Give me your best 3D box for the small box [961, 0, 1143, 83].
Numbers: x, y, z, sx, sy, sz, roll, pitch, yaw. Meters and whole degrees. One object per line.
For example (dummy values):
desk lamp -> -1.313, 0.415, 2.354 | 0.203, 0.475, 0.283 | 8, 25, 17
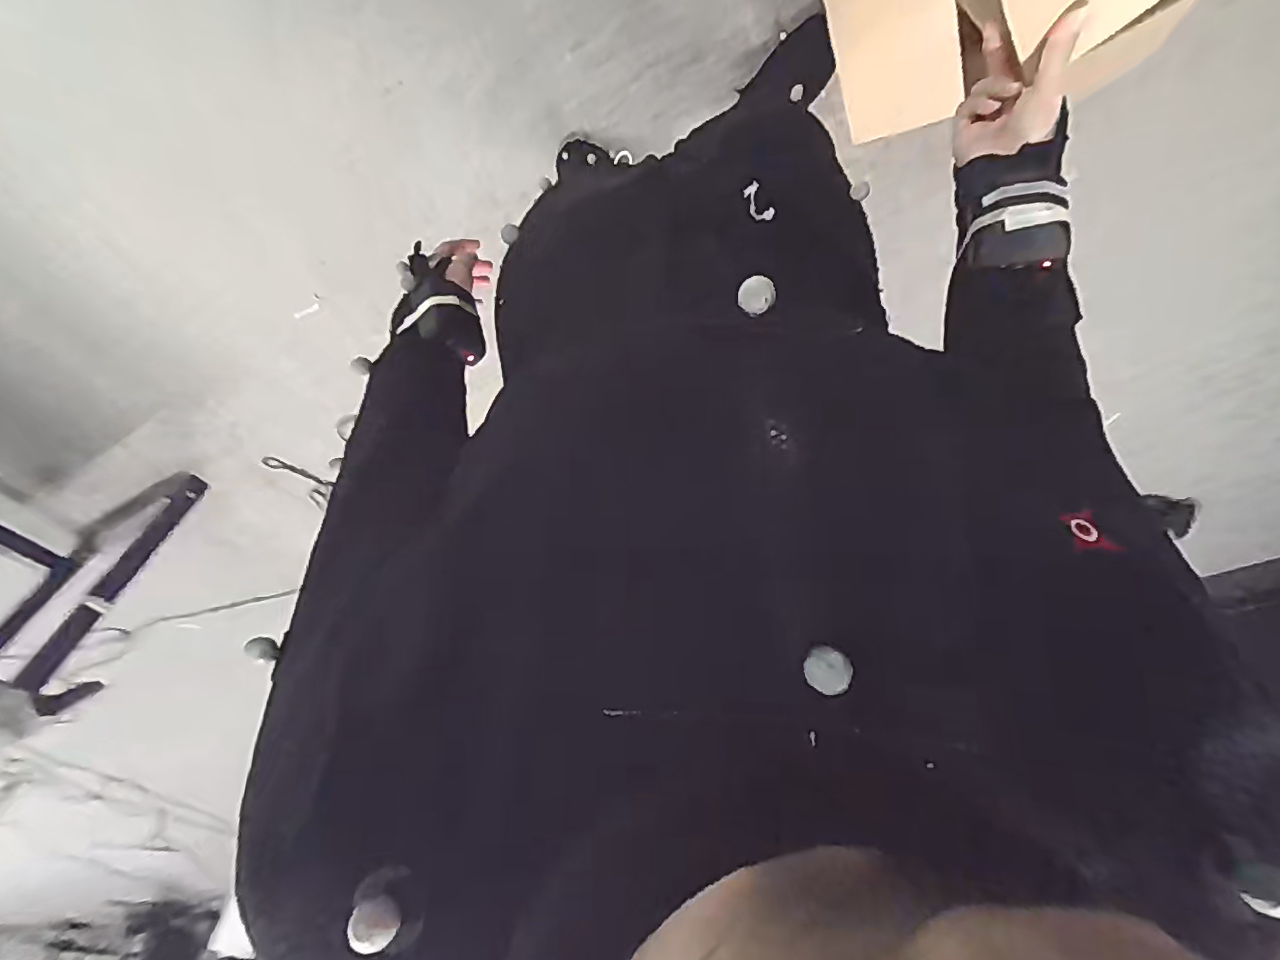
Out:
small box -> 0.294, -0.436, 0.361 | 0.168, 0.176, 0.179 | -27, 141, 37
